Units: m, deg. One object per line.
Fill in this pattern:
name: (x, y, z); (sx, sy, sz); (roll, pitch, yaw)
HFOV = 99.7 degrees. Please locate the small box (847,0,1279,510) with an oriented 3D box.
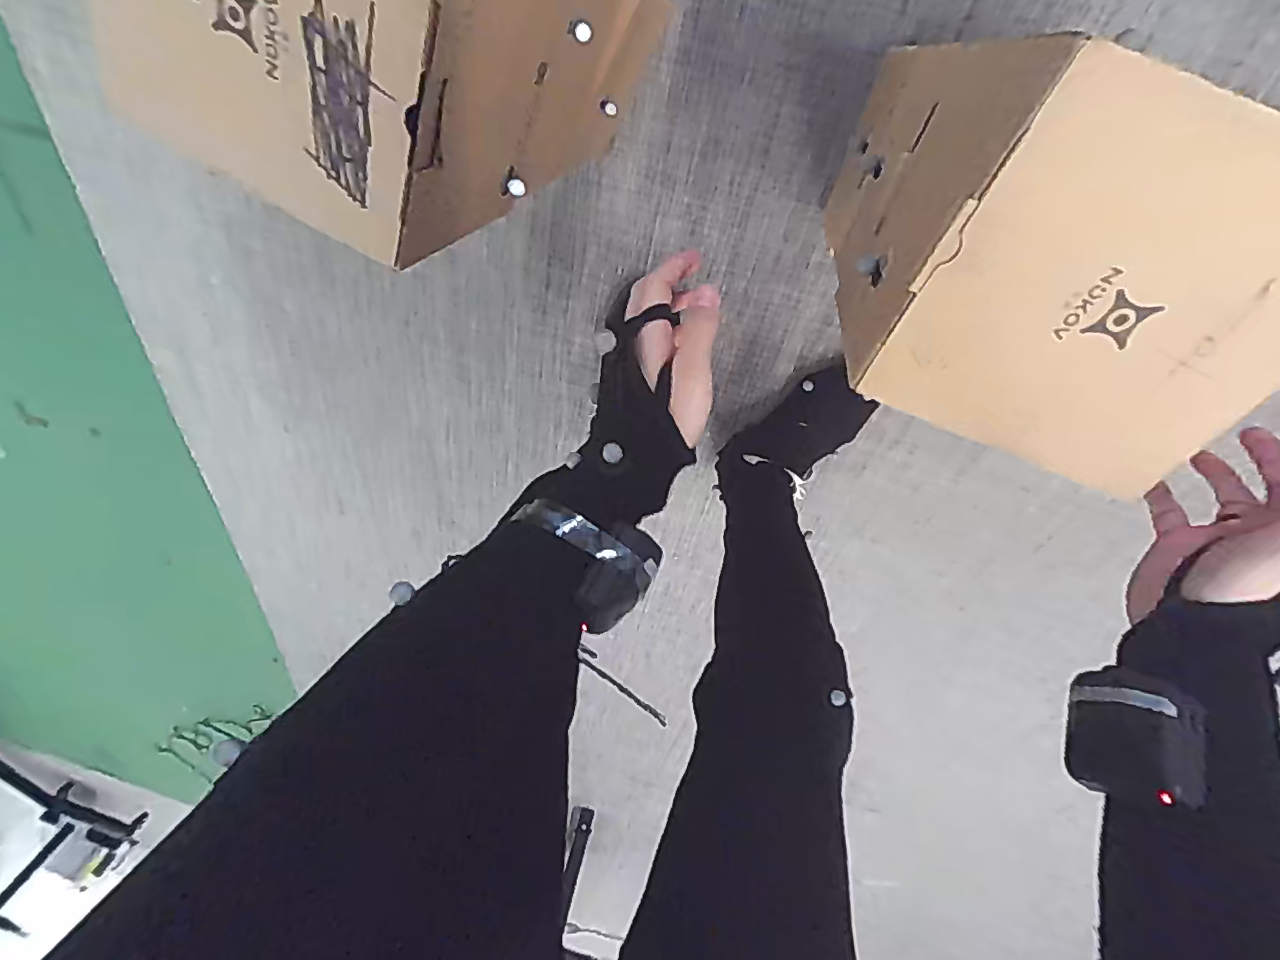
small box: (0.232, -0.121, 0.295); (0.179, 0.176, 0.168); (24, 131, -1)

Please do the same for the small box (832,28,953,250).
small box: (0.309, -0.320, 0.543); (0.168, 0.176, 0.179); (19, 130, 3)

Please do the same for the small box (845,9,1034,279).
small box: (0.275, -0.223, 0.415); (0.179, 0.176, 0.168); (21, 130, 2)
